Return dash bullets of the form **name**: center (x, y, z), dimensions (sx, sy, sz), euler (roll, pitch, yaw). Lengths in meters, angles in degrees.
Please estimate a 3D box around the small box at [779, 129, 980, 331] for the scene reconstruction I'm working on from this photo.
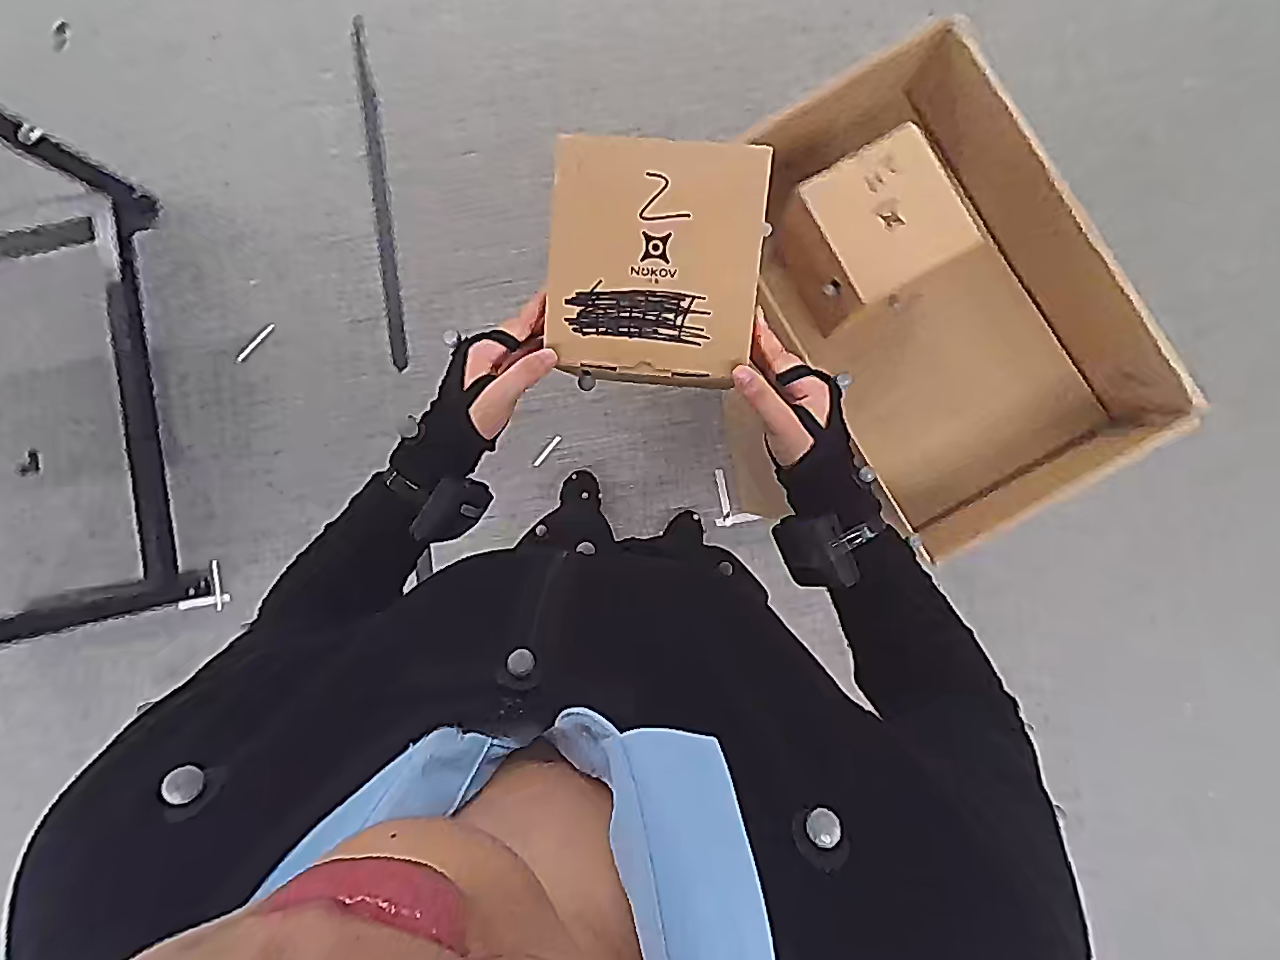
- **small box**: center (0.318, -0.328, 0.758), dimensions (0.168, 0.176, 0.179), euler (-28, 87, 2)
